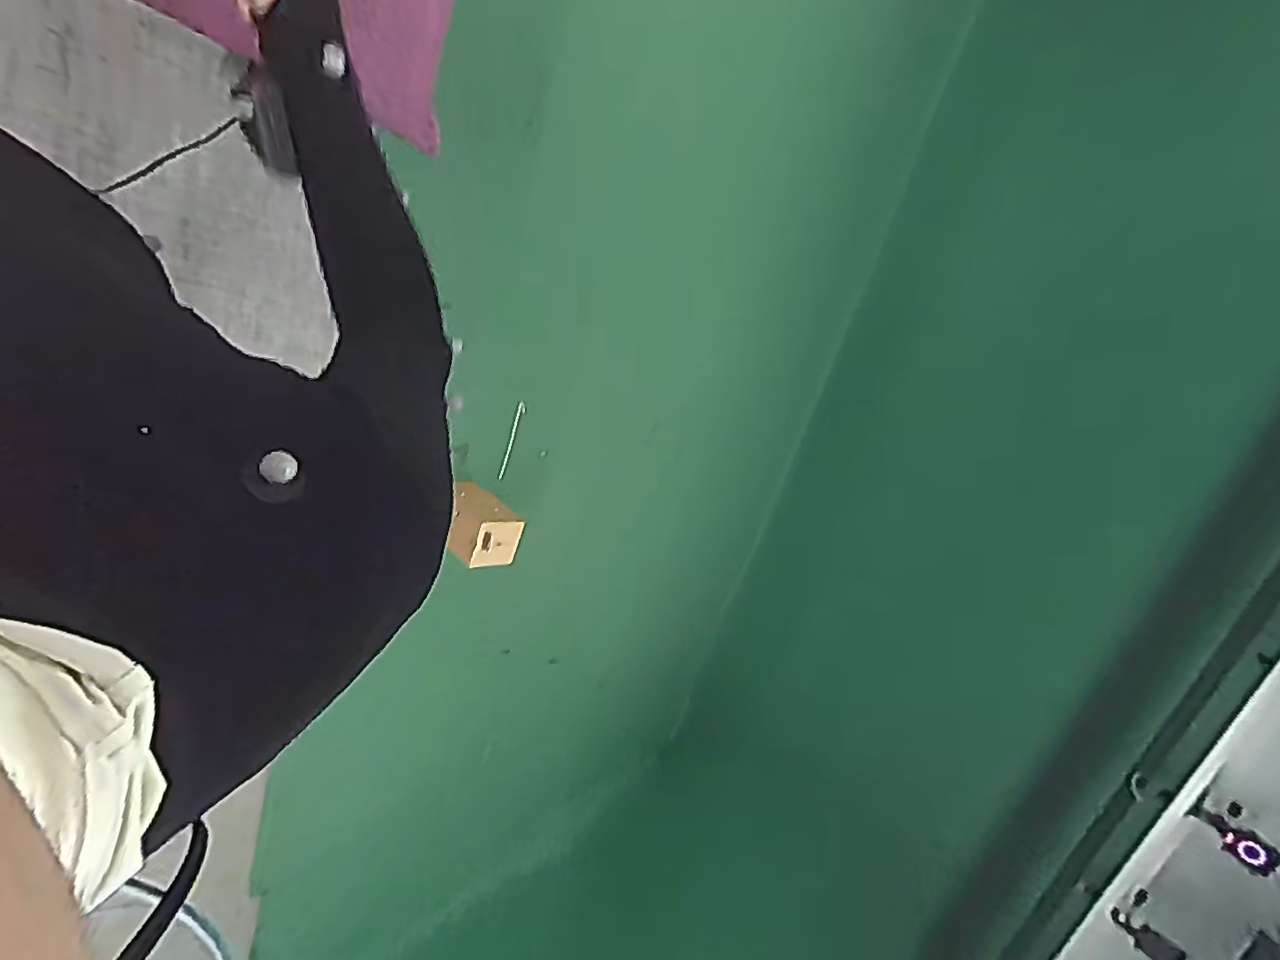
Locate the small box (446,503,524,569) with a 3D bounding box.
[{"bbox_3d":[-0.535,0.187,1.846,0.179,0.176,0.168,4,111,-51],"label":"small box"}]

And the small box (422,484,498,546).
[{"bbox_3d":[-0.649,0.120,1.943,0.179,0.176,0.168,3,112,-50],"label":"small box"}]
